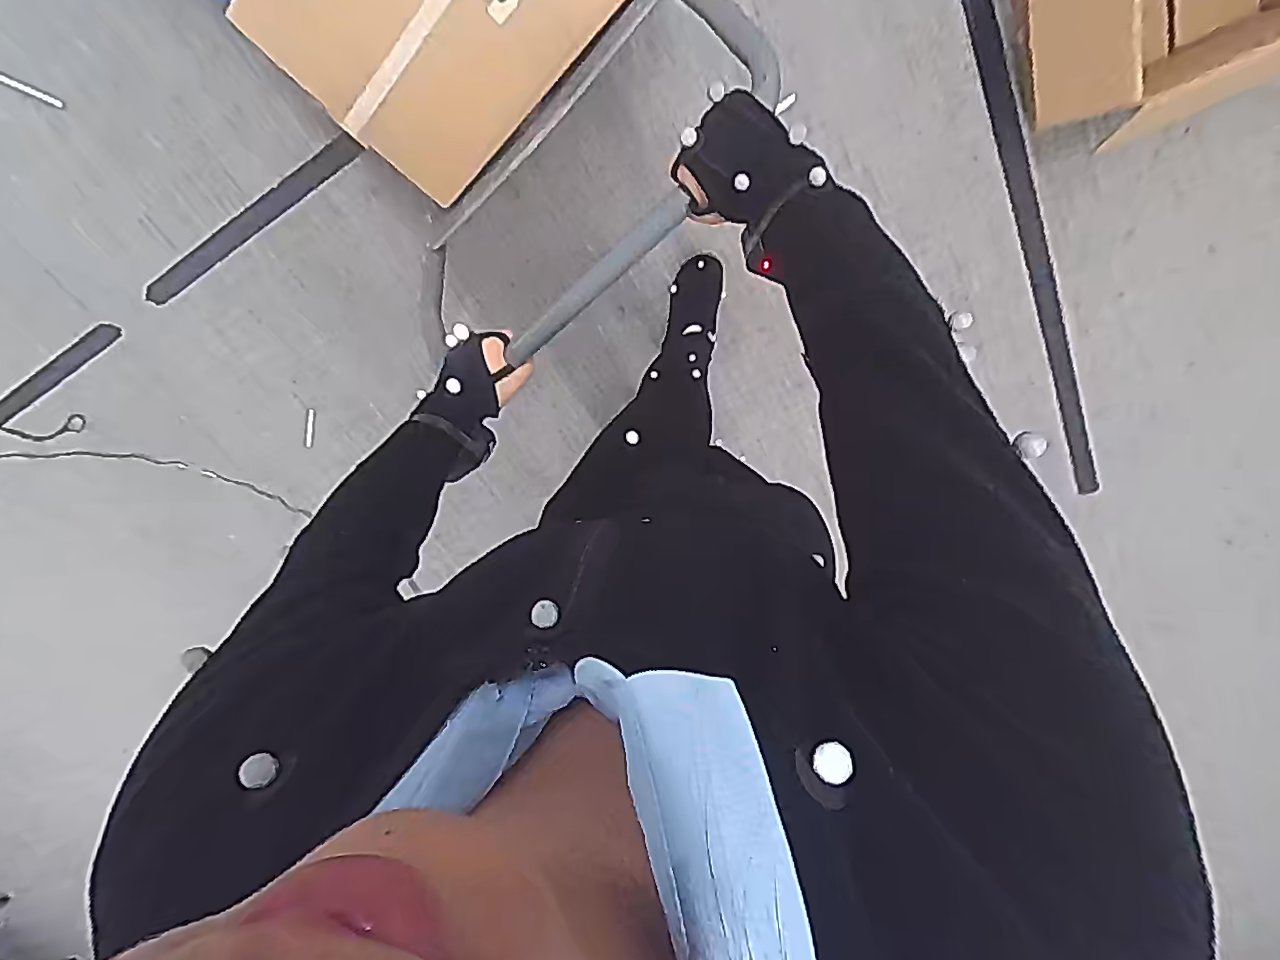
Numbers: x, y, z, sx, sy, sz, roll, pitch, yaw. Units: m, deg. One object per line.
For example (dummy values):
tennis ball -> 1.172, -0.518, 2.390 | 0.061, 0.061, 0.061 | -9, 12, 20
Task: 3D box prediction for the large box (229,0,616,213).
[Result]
large box -> -0.281, -0.690, 0.769 | 0.408, 0.320, 0.320 | -36, 133, 23
